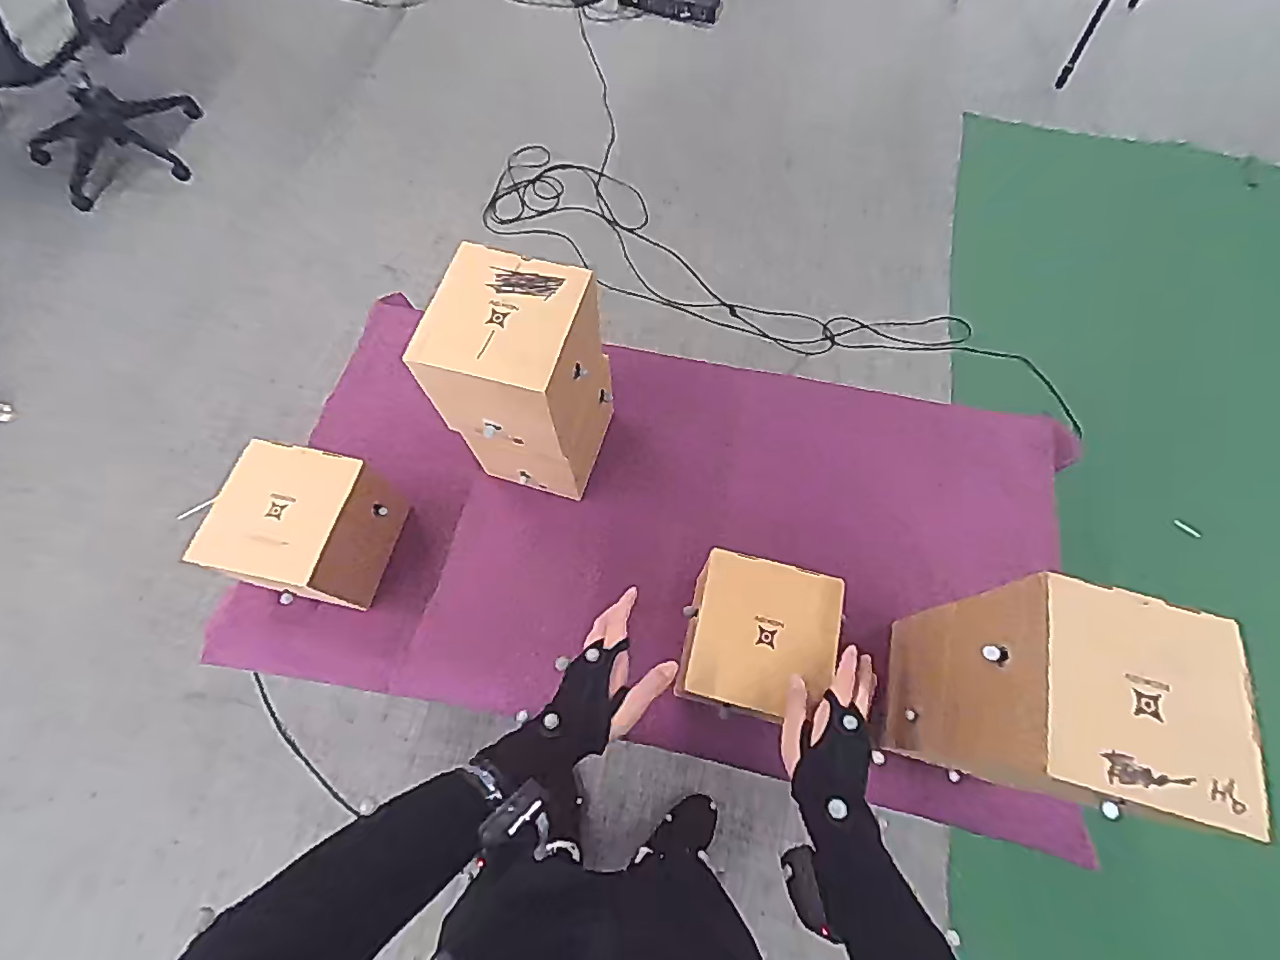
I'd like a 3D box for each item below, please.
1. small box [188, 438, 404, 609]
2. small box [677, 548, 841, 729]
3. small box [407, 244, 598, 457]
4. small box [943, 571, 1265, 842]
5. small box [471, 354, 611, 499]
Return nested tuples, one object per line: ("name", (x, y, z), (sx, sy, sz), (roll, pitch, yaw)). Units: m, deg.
("small box", (-0.461, 0.067, 0.764), (0.168, 0.176, 0.179), (11, 67, 5))
("small box", (0.146, 0.212, 0.707), (0.168, 0.176, 0.179), (13, 66, 6))
("small box", (-0.154, -0.154, 0.680), (0.168, 0.176, 0.179), (15, 69, 6))
("small box", (0.421, 0.212, 0.526), (0.168, 0.176, 0.179), (15, 67, 7))
("small box", (-0.147, -0.095, 0.833), (0.168, 0.176, 0.179), (16, 69, 7))
